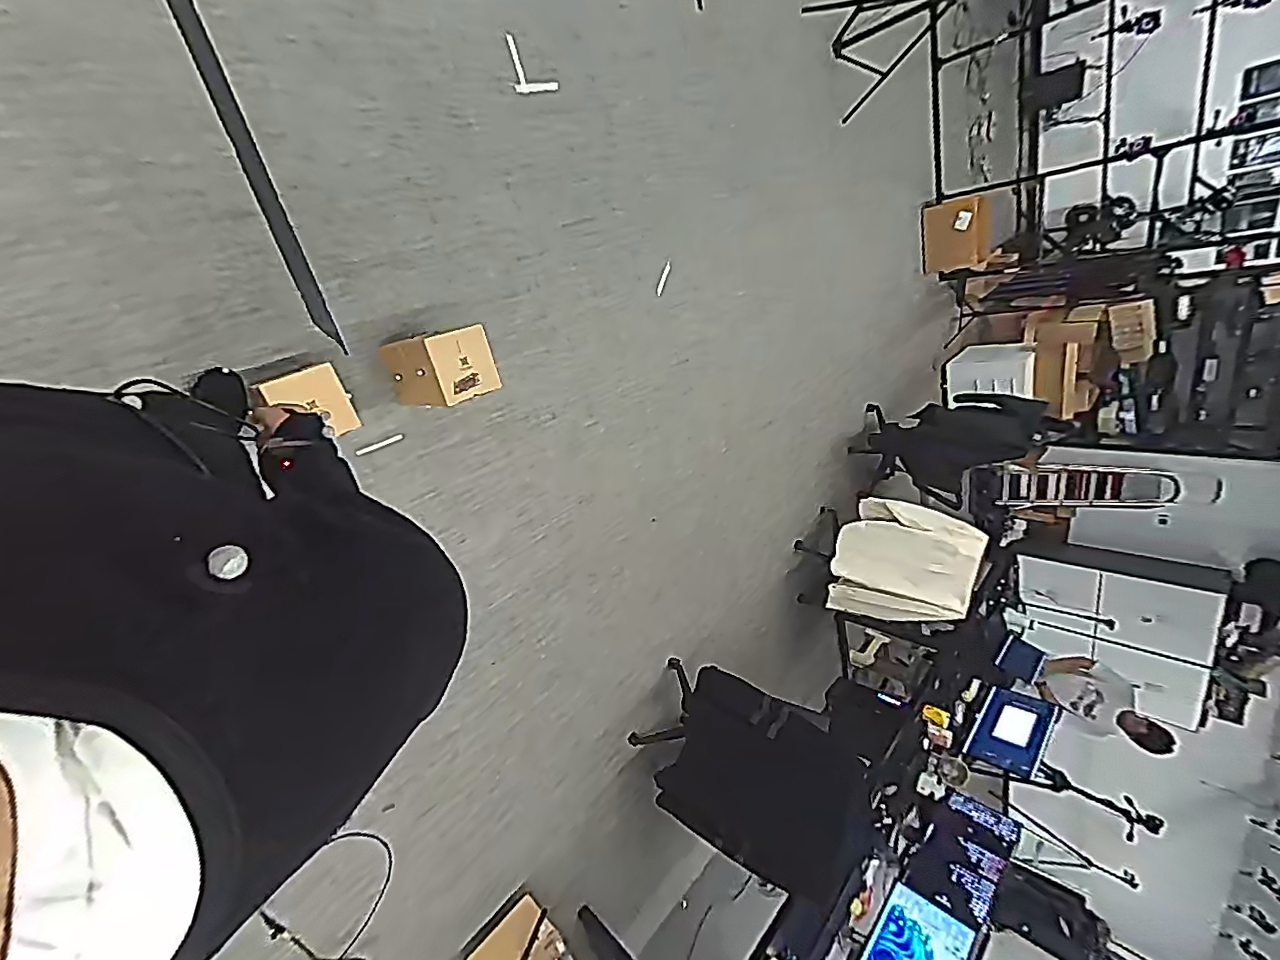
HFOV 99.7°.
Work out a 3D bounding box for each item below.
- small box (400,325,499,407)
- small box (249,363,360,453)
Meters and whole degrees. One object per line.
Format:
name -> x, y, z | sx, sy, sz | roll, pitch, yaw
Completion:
small box -> -0.508, -0.303, 1.440 | 0.168, 0.176, 0.179 | -31, 116, -36
small box -> -0.851, -0.183, 1.368 | 0.168, 0.176, 0.179 | -35, 119, -34
